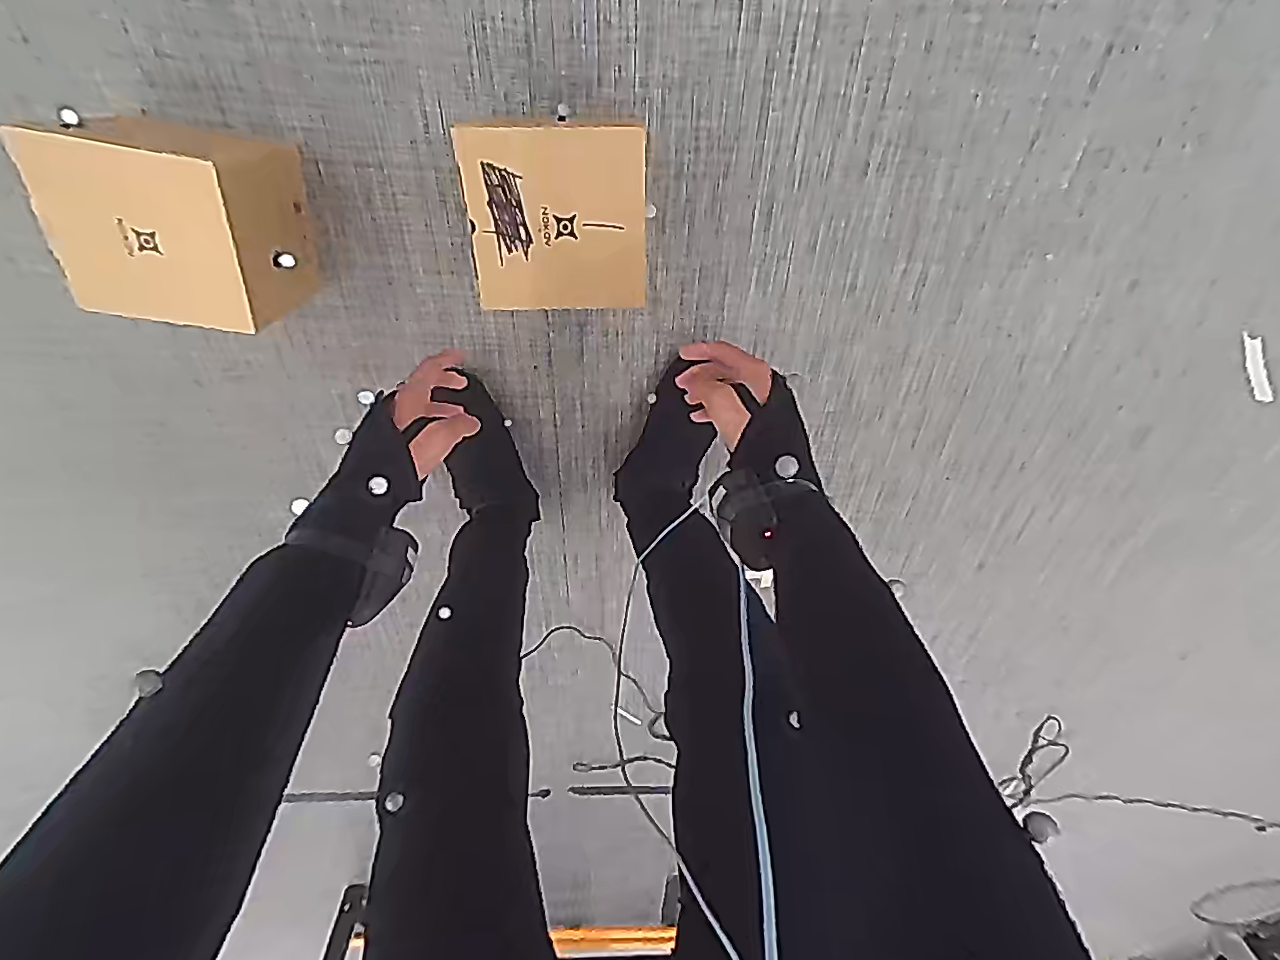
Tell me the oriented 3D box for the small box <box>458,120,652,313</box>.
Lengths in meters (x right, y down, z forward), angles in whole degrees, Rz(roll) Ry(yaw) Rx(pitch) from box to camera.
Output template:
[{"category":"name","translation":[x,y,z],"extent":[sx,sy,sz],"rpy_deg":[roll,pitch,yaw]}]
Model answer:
[{"category":"small box","translation":[-0.080,-0.291,0.593],"extent":[0.179,0.176,0.168],"rpy_deg":[-1,126,-3]}]

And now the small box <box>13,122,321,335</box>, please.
[{"category":"small box","translation":[-0.476,-0.278,0.589],"extent":[0.179,0.176,0.168],"rpy_deg":[7,126,-6]}]
